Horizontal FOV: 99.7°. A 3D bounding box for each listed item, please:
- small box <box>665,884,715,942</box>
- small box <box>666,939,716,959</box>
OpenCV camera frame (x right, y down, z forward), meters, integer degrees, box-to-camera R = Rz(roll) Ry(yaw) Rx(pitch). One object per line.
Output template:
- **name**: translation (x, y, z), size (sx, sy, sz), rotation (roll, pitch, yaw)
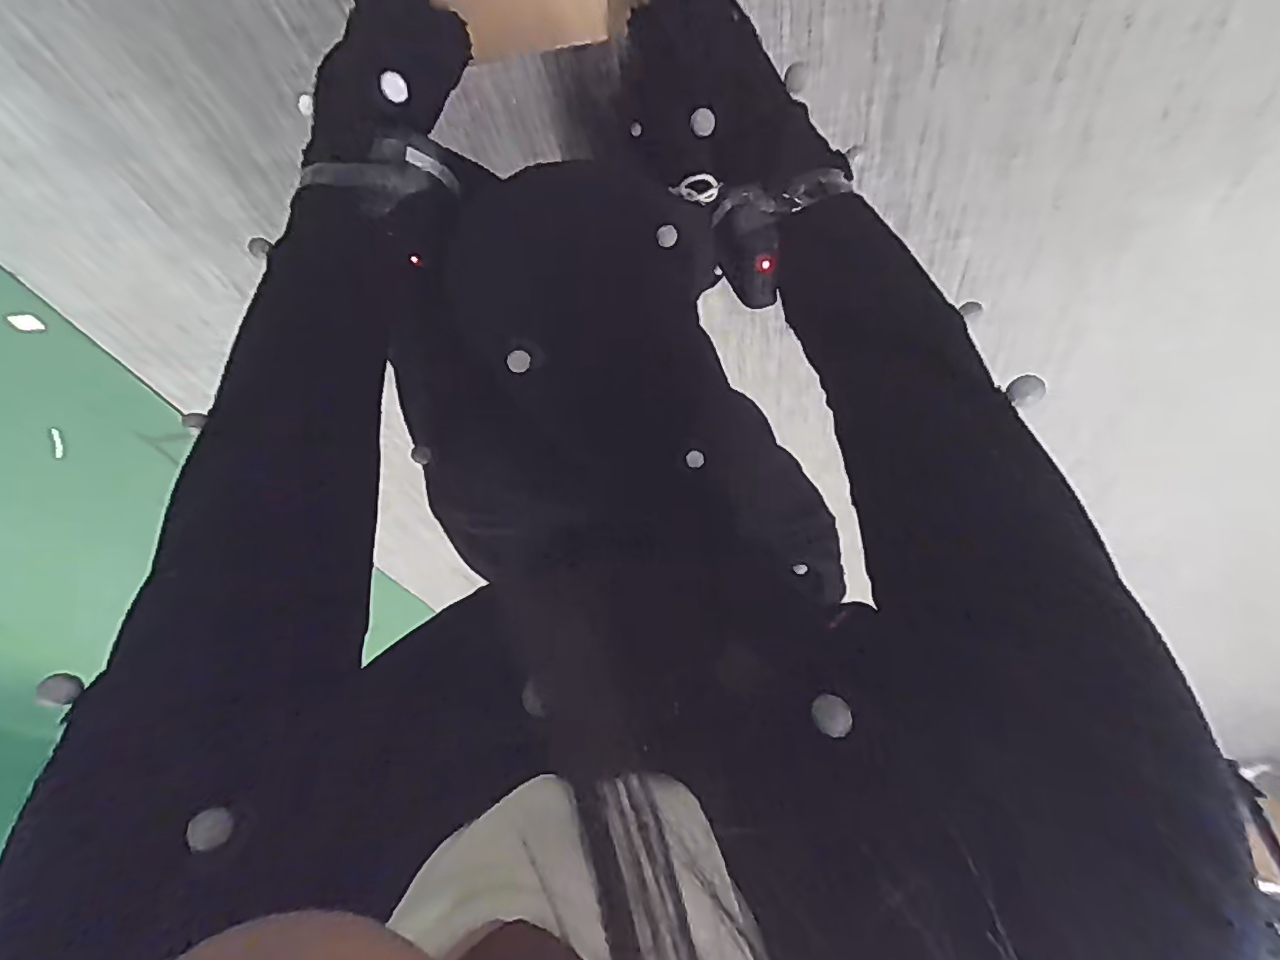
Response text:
- **small box**: translation (0.197, 1.702, 2.131), size (0.179, 0.176, 0.168), rotation (-7, 145, 11)
- **small box**: translation (0.193, 1.841, 2.044), size (0.179, 0.176, 0.168), rotation (-5, 145, 12)
